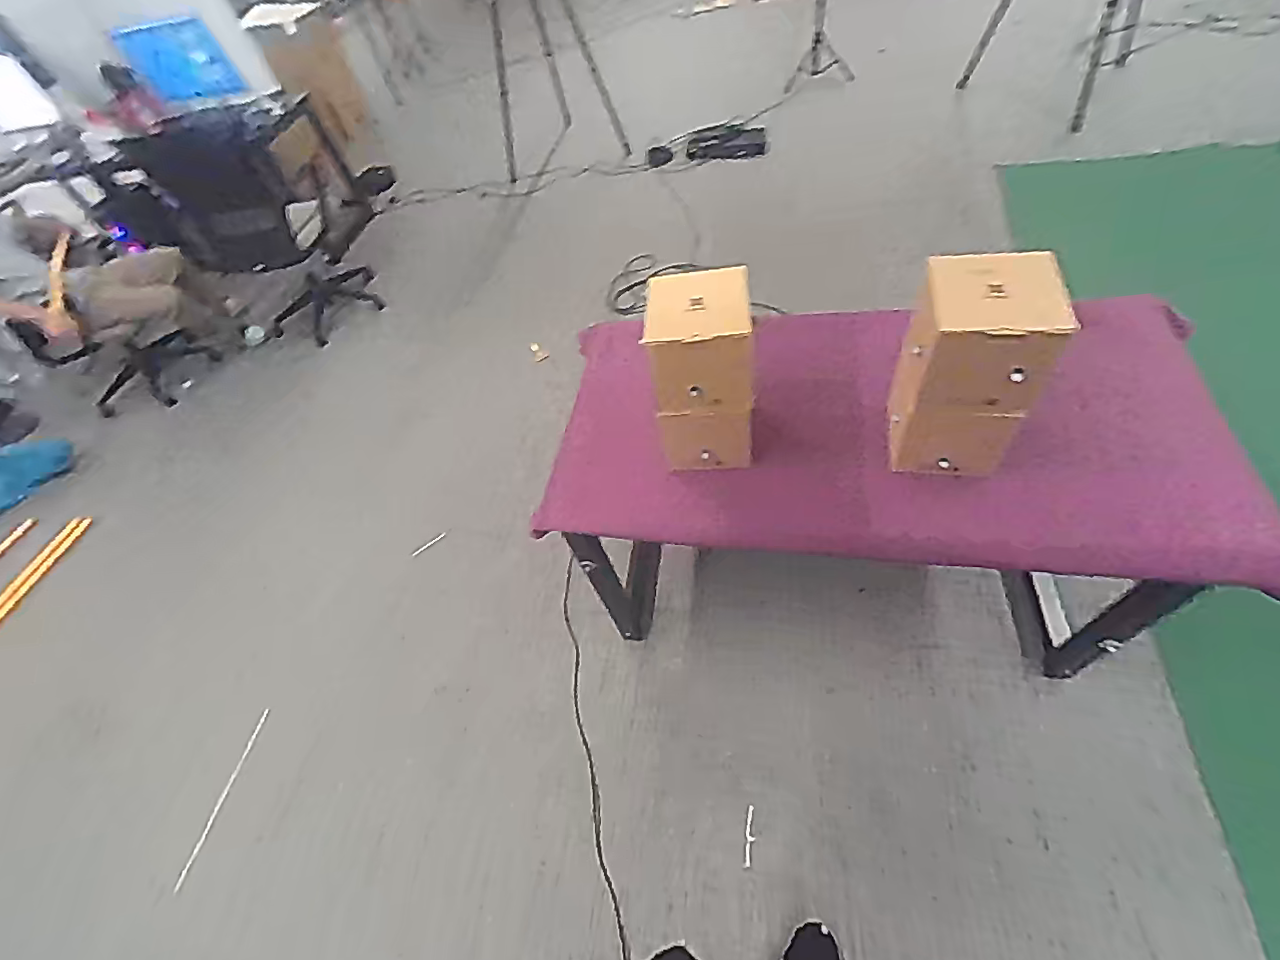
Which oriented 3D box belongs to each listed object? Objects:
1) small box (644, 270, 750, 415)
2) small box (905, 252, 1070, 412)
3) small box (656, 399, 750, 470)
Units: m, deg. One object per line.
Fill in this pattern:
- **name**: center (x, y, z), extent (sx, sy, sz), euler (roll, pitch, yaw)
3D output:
- **small box**: center (0.104, -0.235, 0.940), extent (0.168, 0.176, 0.179), euler (-3, 54, 10)
- **small box**: center (0.515, -0.221, 0.831), extent (0.168, 0.176, 0.179), euler (4, 56, 16)
- **small box**: center (0.130, -0.138, 1.068), extent (0.168, 0.176, 0.179), euler (-2, 54, 12)
